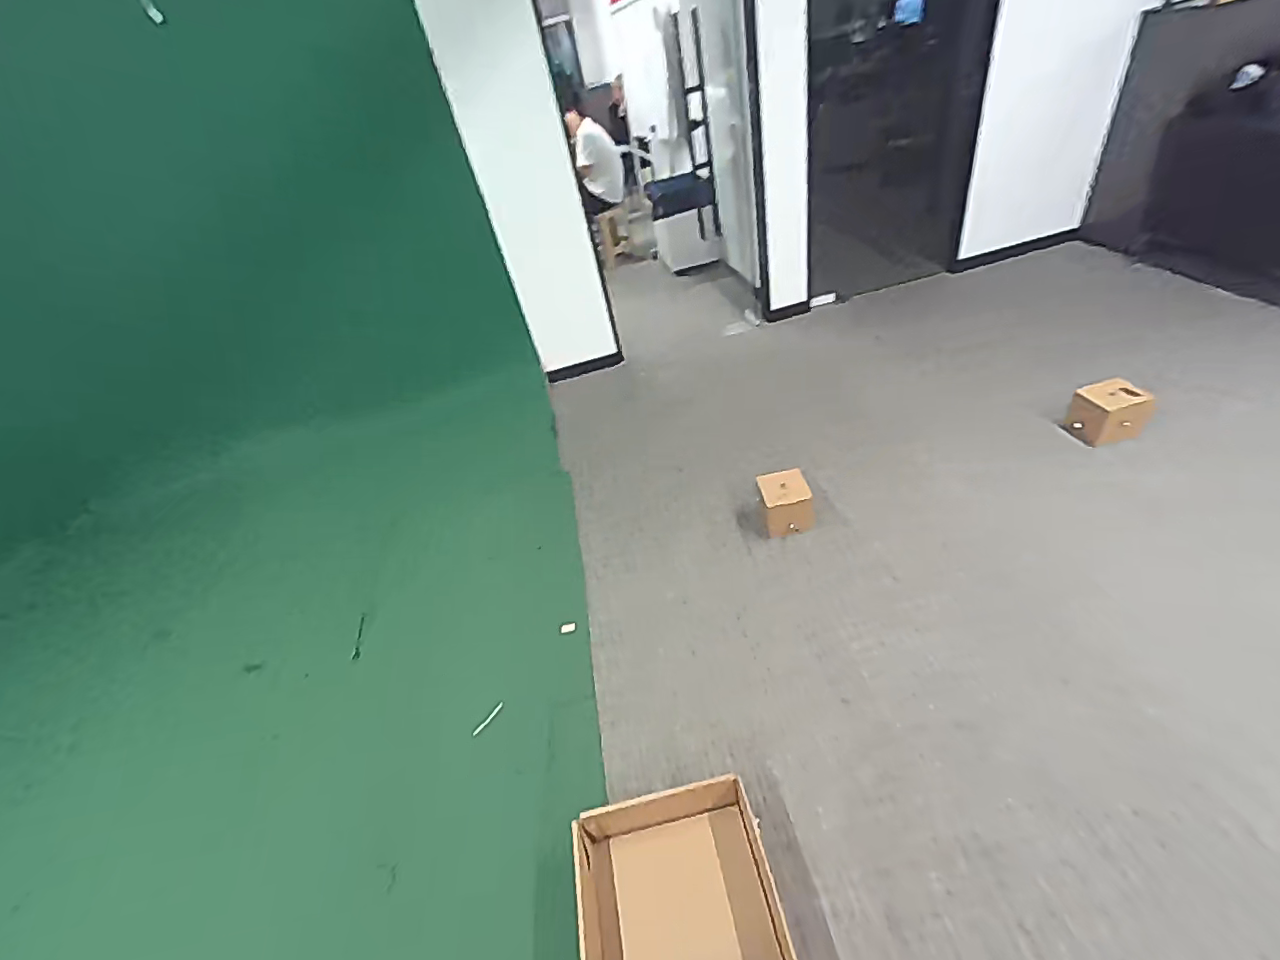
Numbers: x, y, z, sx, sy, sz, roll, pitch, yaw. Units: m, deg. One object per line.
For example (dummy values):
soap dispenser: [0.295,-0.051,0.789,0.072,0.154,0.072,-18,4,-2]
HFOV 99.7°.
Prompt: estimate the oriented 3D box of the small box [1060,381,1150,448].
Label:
small box: [1.757,-0.246,2.056,0.179,0.176,0.168,-15,39,0]

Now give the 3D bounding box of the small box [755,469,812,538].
small box: [0.532,0.088,2.016,0.168,0.176,0.179,-12,39,3]
